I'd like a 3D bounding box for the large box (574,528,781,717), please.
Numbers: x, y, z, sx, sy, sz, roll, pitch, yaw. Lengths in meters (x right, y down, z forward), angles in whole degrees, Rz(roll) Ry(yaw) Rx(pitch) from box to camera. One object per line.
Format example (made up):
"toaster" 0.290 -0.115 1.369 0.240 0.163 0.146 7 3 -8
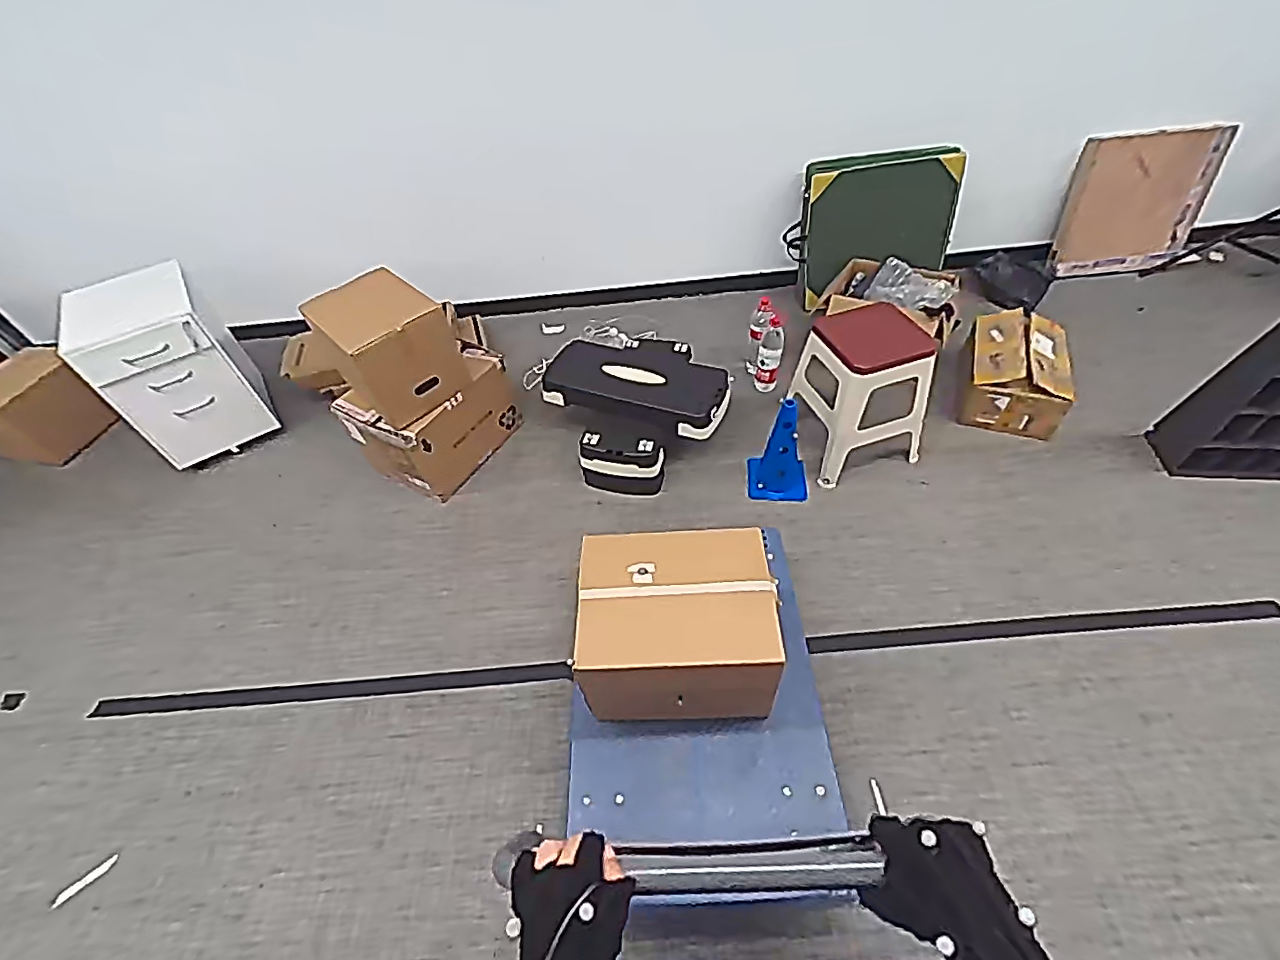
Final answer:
"large box" 0.082 0.333 1.238 0.408 0.320 0.320 -4 49 4
